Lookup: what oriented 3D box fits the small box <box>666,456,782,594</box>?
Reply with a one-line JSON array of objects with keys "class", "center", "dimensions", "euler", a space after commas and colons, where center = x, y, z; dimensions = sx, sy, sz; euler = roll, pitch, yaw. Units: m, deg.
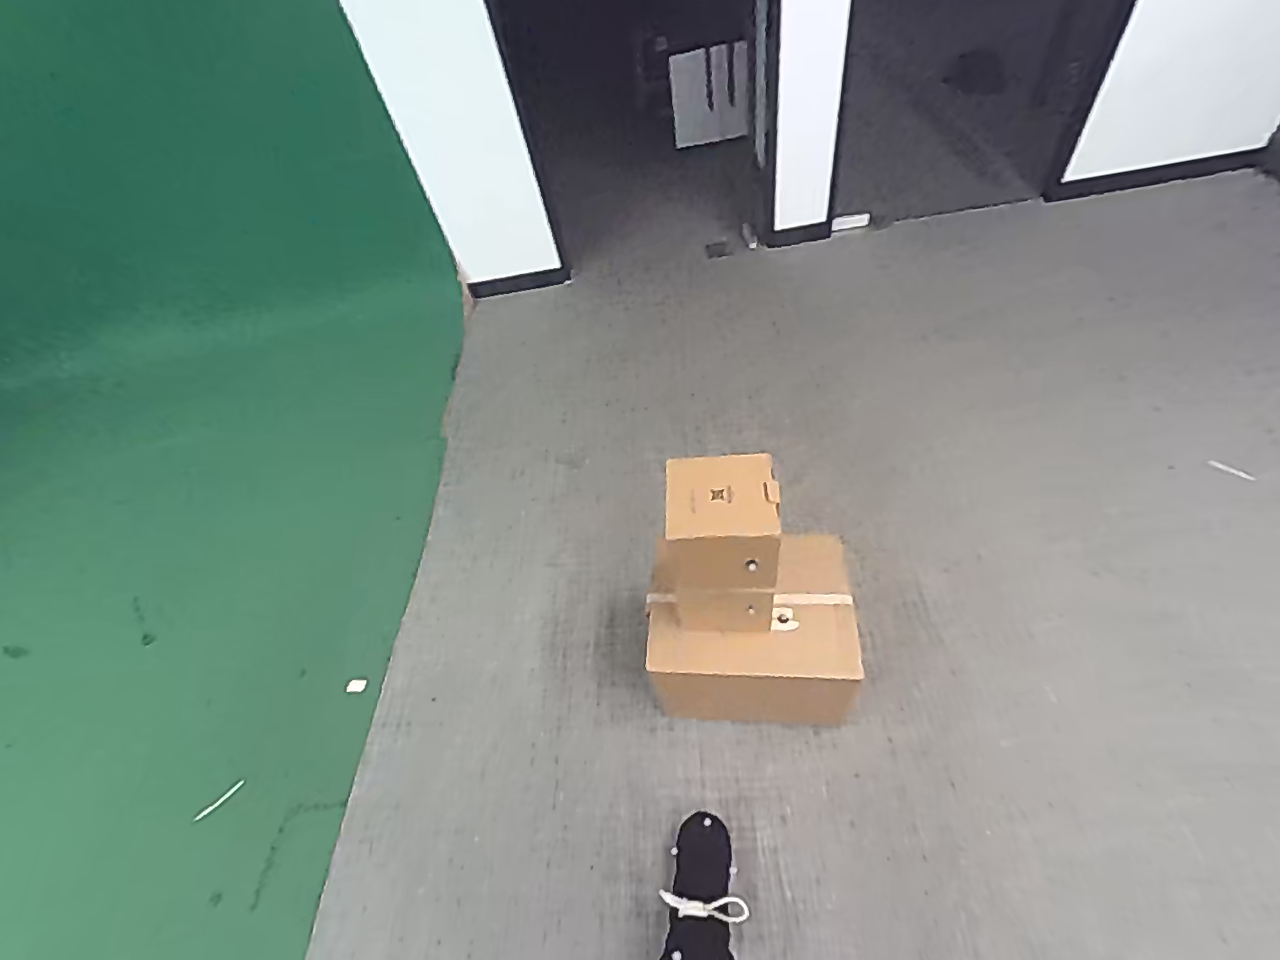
[{"class": "small box", "center": [0.140, 0.080, 0.918], "dimensions": [0.179, 0.176, 0.168], "euler": [-5, 49, 9]}]

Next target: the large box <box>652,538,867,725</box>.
[{"class": "large box", "center": [0.247, 0.344, 1.212], "dimensions": [0.408, 0.320, 0.320], "euler": [-2, 52, 9]}]
